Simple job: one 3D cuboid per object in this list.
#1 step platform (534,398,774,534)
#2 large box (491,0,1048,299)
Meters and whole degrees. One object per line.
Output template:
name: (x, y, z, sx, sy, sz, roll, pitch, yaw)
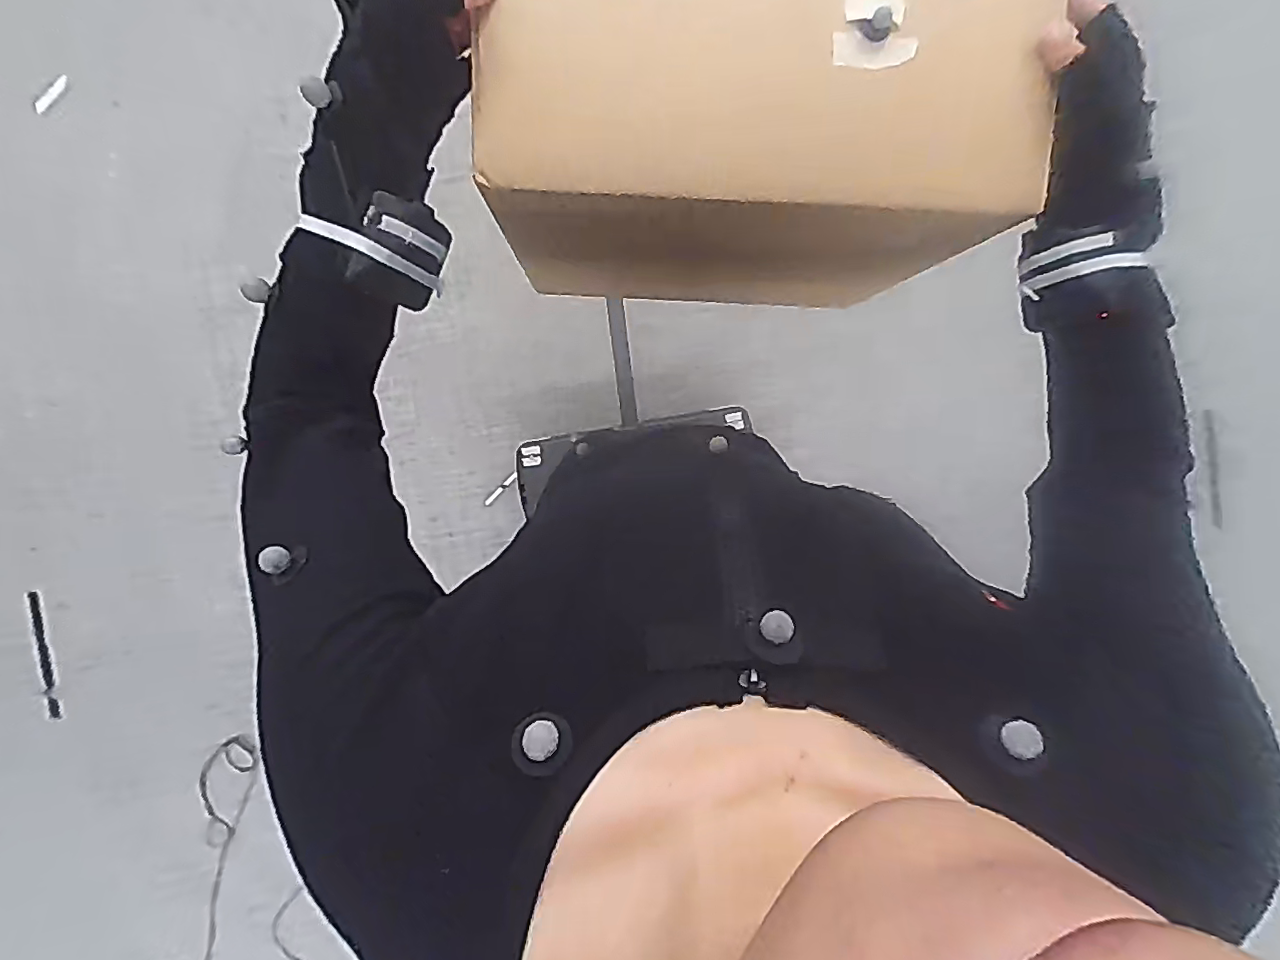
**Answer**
step platform: (0.039, -0.042, 1.577, 0.684, 0.204, 0.286, -11, 94, -2)
large box: (0.084, -0.370, 0.524, 0.408, 0.320, 0.320, 1, 96, -4)
